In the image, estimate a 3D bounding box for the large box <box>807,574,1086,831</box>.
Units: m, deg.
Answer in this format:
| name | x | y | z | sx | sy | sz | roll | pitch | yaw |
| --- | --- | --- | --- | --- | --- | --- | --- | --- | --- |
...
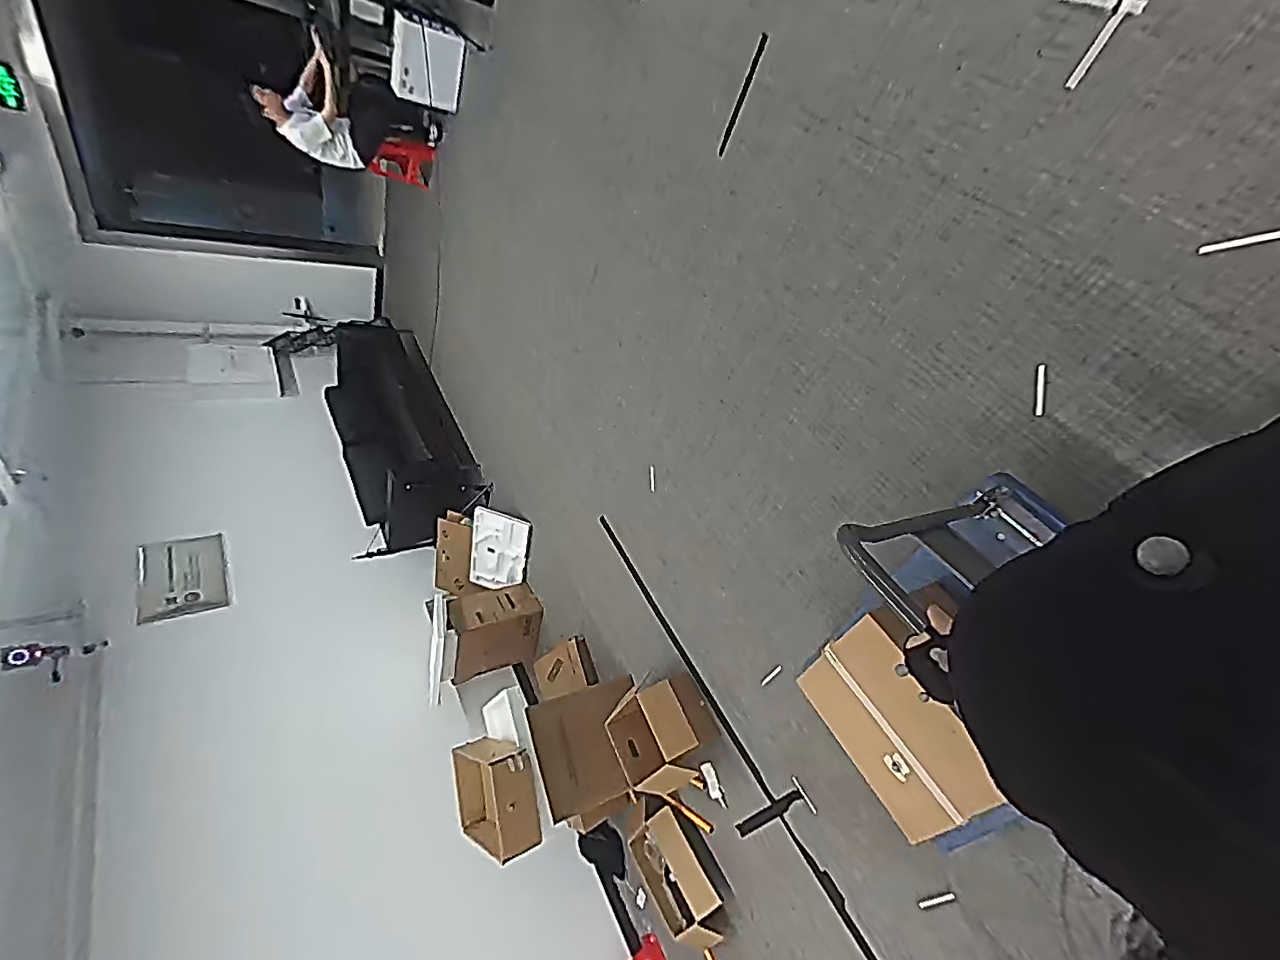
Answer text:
| name | x | y | z | sx | sy | sz | roll | pitch | yaw |
| --- | --- | --- | --- | --- | --- | --- | --- | --- | --- |
| large box | 0.687 | 0.491 | 1.257 | 0.408 | 0.320 | 0.320 | 55 | 137 | 32 |
